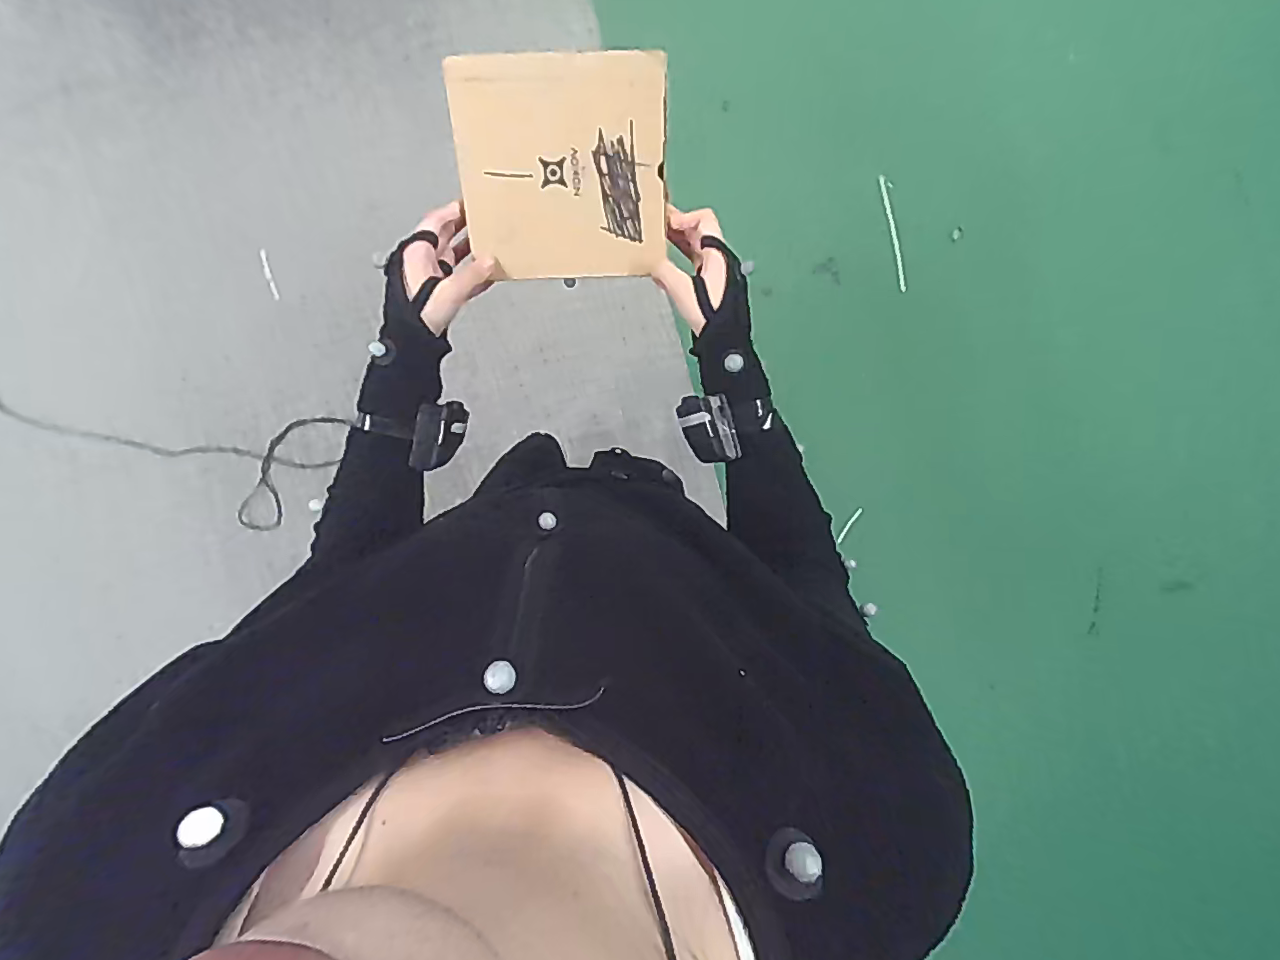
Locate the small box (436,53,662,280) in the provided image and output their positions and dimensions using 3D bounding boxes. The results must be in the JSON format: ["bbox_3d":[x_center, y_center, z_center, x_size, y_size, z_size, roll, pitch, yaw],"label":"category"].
[{"bbox_3d":[-0.073,-0.290,0.521,0.179,0.176,0.168,-2,116,-1],"label":"small box"}]
